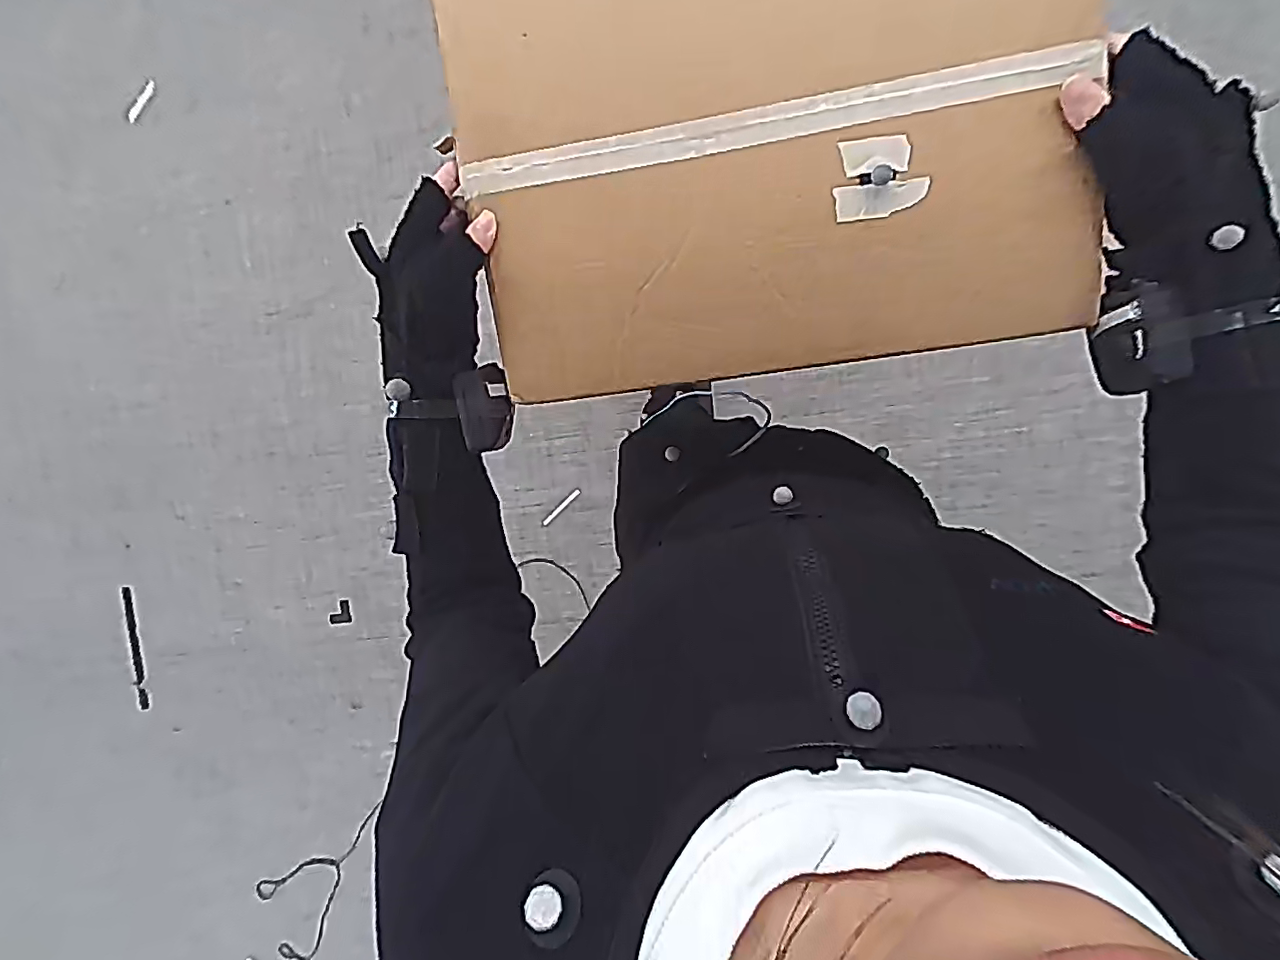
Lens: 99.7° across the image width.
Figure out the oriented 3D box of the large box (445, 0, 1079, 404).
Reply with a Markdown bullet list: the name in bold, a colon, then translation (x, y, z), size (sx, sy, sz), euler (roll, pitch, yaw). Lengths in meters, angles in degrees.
- **large box**: translation (0.092, -0.263, 0.511), size (0.408, 0.320, 0.320), euler (-8, 102, 6)
